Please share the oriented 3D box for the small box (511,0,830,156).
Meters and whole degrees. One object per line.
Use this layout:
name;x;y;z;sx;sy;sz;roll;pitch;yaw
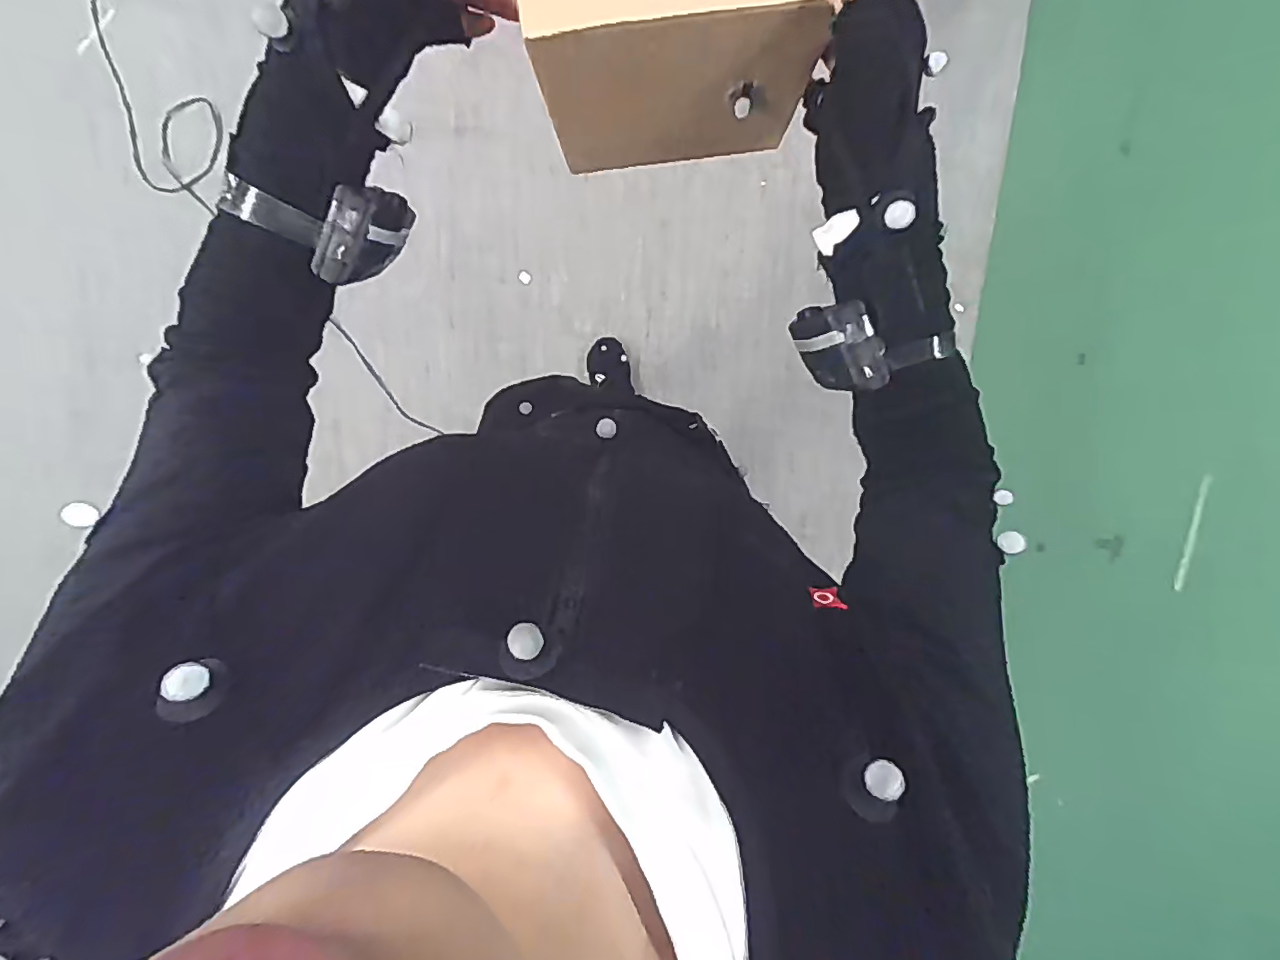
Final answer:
small box;0.013;-0.341;0.349;0.179;0.176;0.168;-6;96;4
